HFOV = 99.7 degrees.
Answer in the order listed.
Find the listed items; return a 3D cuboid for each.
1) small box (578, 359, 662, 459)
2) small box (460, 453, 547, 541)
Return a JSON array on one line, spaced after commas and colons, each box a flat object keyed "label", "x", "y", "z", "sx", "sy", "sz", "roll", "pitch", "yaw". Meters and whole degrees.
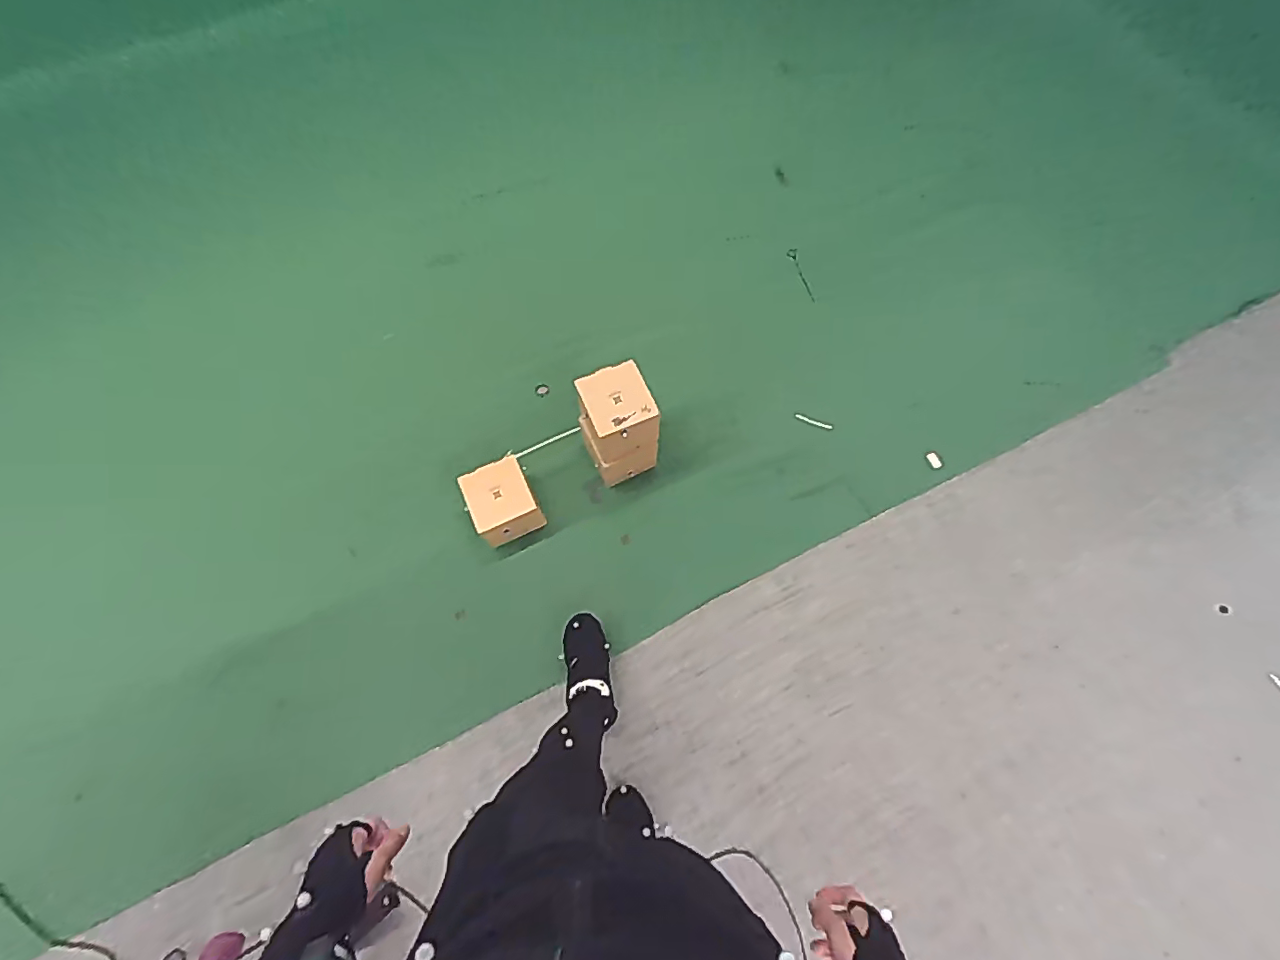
[{"label": "small box", "x": -0.052, "y": -0.181, "z": 1.420, "sx": 0.168, "sy": 0.176, "sz": 0.179, "roll": -22, "pitch": 71, "yaw": -8}, {"label": "small box", "x": -0.374, "y": 0.058, "z": 1.510, "sx": 0.168, "sy": 0.176, "sz": 0.179, "roll": -24, "pitch": 71, "yaw": -8}]
